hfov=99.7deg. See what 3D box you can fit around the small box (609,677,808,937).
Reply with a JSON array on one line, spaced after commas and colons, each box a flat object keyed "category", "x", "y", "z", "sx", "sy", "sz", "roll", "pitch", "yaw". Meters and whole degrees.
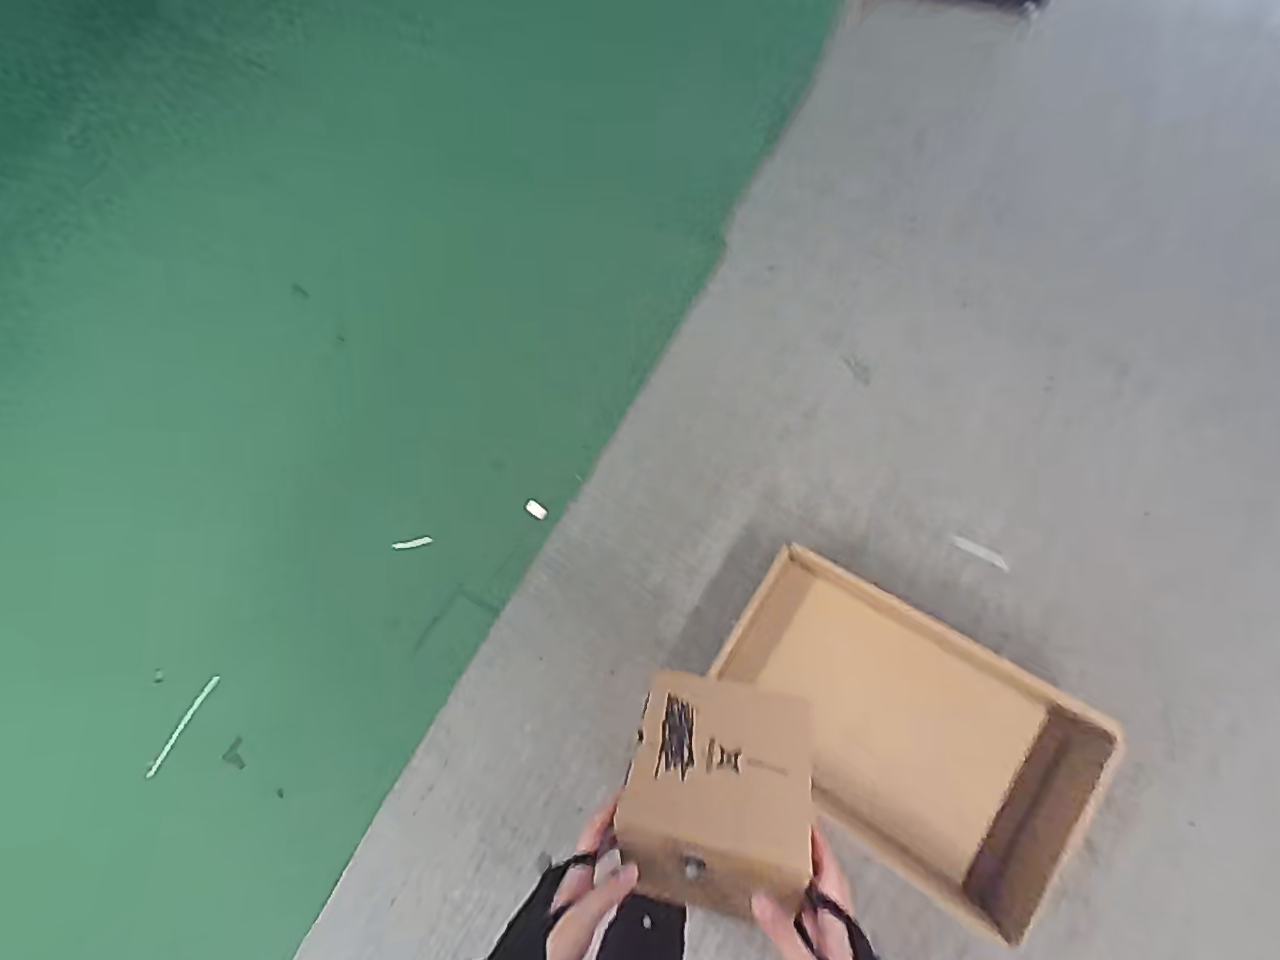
[{"category": "small box", "x": 0.078, "y": 0.342, "z": 0.573, "sx": 0.179, "sy": 0.176, "sz": 0.168, "roll": 6, "pitch": 37, "yaw": 13}]
